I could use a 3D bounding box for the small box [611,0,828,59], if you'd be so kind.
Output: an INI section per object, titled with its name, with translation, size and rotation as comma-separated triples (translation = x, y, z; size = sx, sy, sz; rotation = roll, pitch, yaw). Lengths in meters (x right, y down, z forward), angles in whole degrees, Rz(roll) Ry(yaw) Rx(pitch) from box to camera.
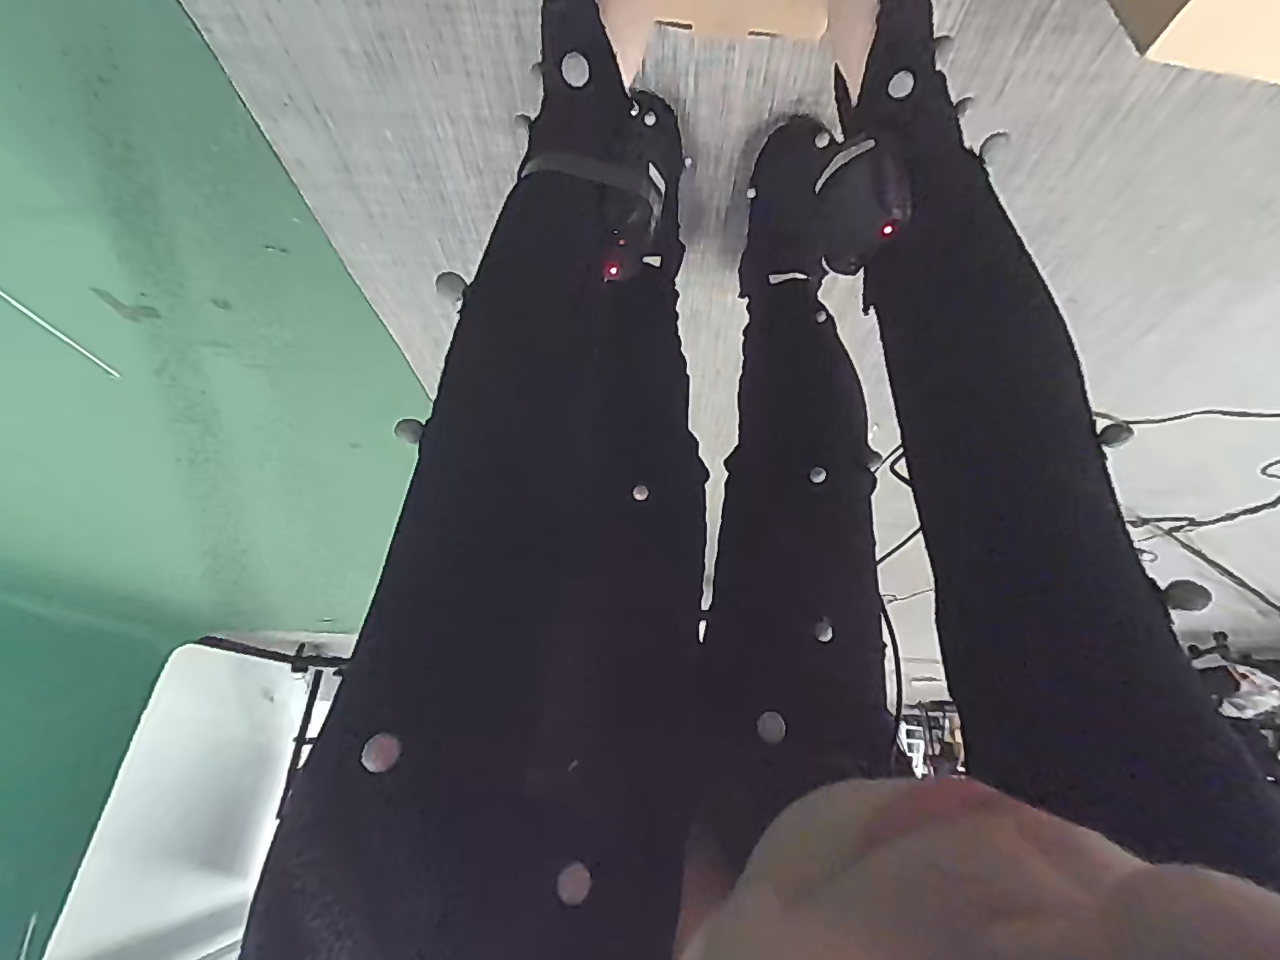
[small box]
translation = 0.069, -0.458, 0.392
size = 0.168, 0.176, 0.179
rotation = 4, 155, -2
